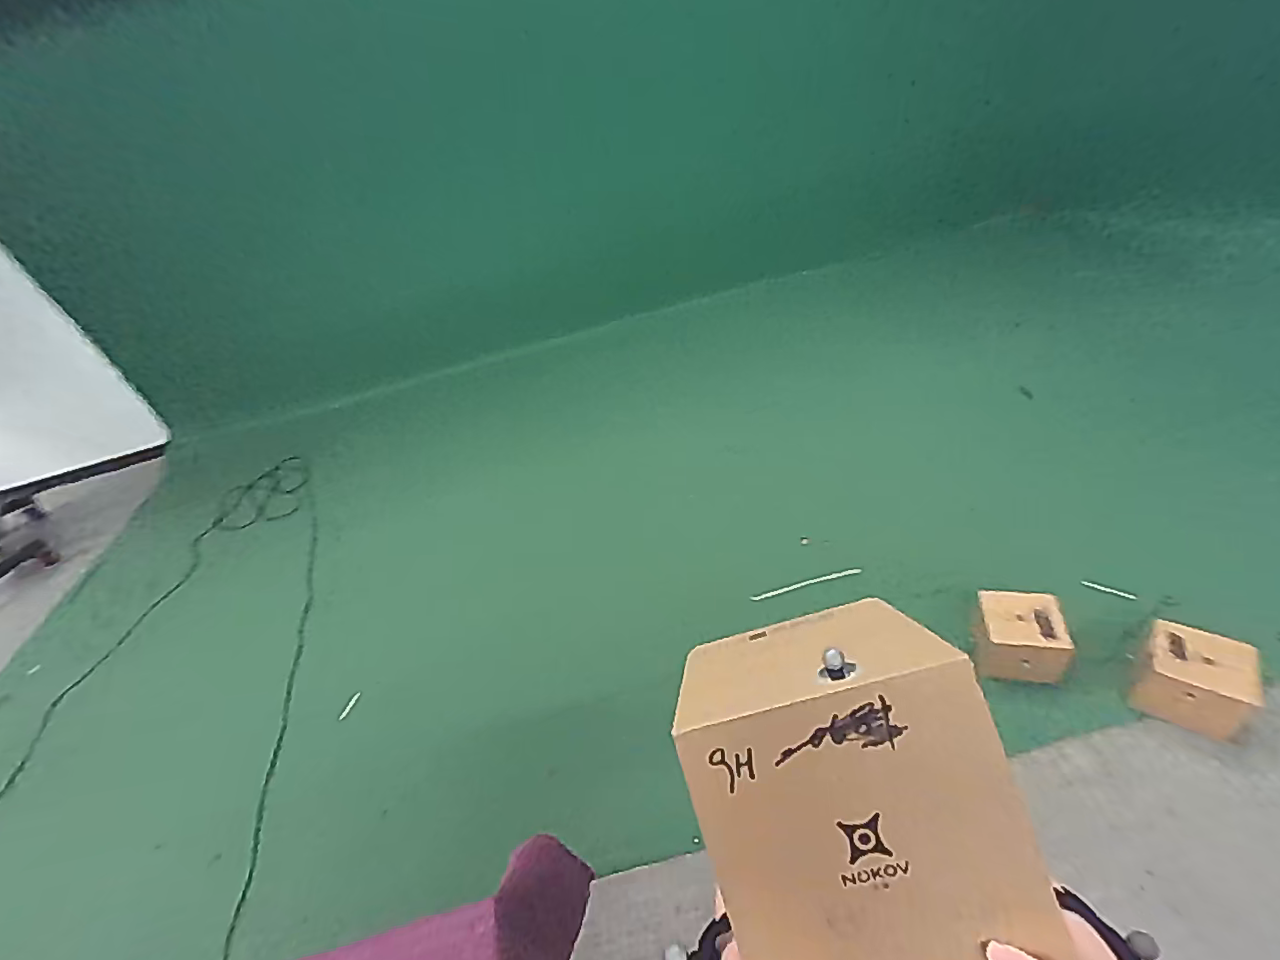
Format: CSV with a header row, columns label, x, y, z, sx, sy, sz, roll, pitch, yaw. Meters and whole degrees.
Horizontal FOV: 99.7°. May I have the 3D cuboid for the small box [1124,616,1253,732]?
label,x,y,z,sx,sy,sz,roll,pitch,yaw
small box,1.298,0.465,1.291,0.179,0.176,0.168,17,49,32

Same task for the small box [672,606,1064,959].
label,x,y,z,sx,sy,sz,roll,pitch,yaw
small box,0.131,0.204,0.365,0.168,0.179,0.176,-18,-4,8
